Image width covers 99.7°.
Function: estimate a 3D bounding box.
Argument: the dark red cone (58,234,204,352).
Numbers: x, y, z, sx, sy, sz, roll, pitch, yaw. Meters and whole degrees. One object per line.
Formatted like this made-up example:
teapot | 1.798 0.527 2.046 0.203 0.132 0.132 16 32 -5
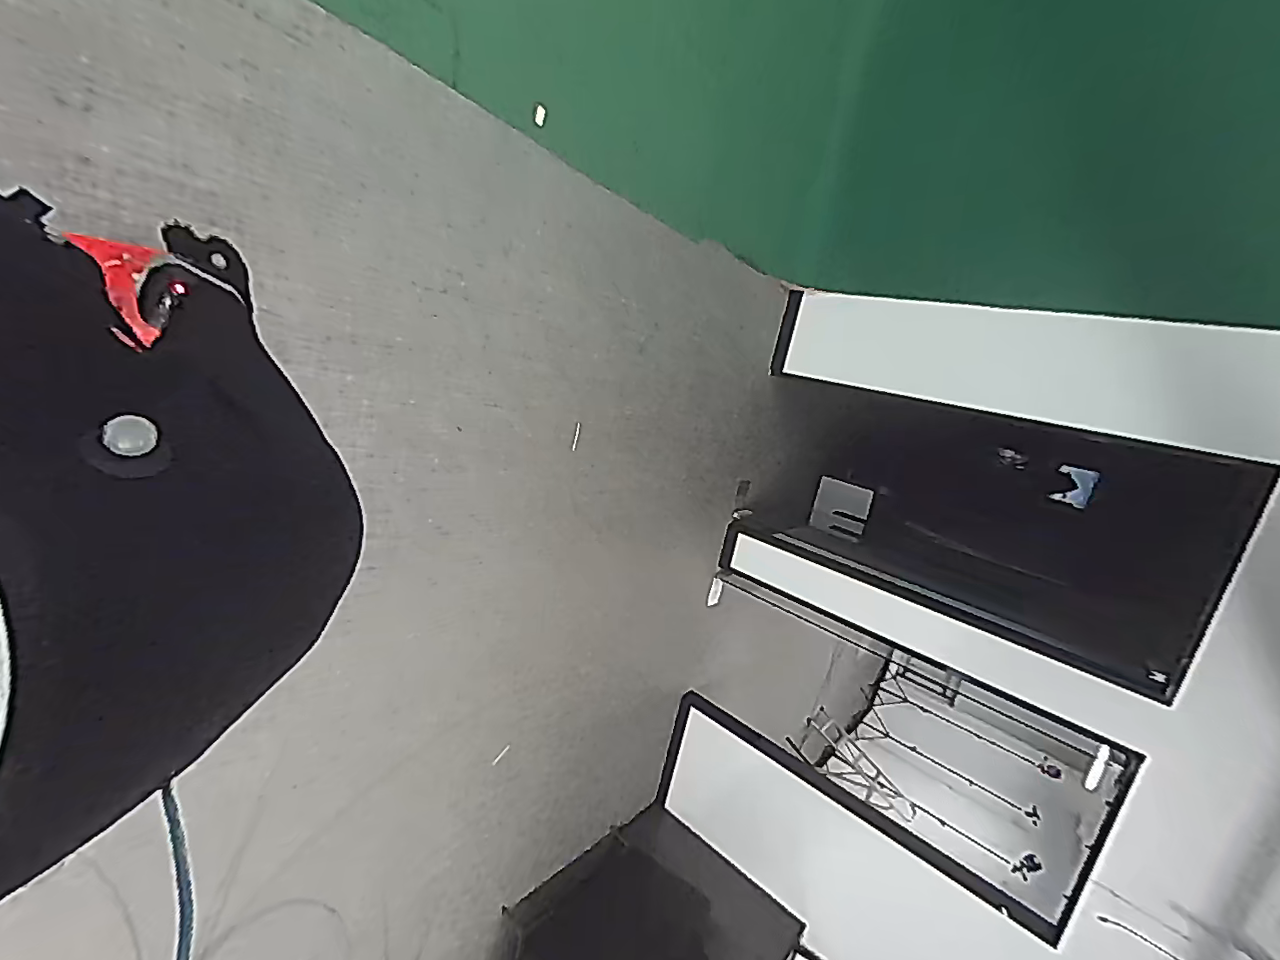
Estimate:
dark red cone | -0.850 -0.309 0.947 0.202 0.394 0.201 -9 113 -49
